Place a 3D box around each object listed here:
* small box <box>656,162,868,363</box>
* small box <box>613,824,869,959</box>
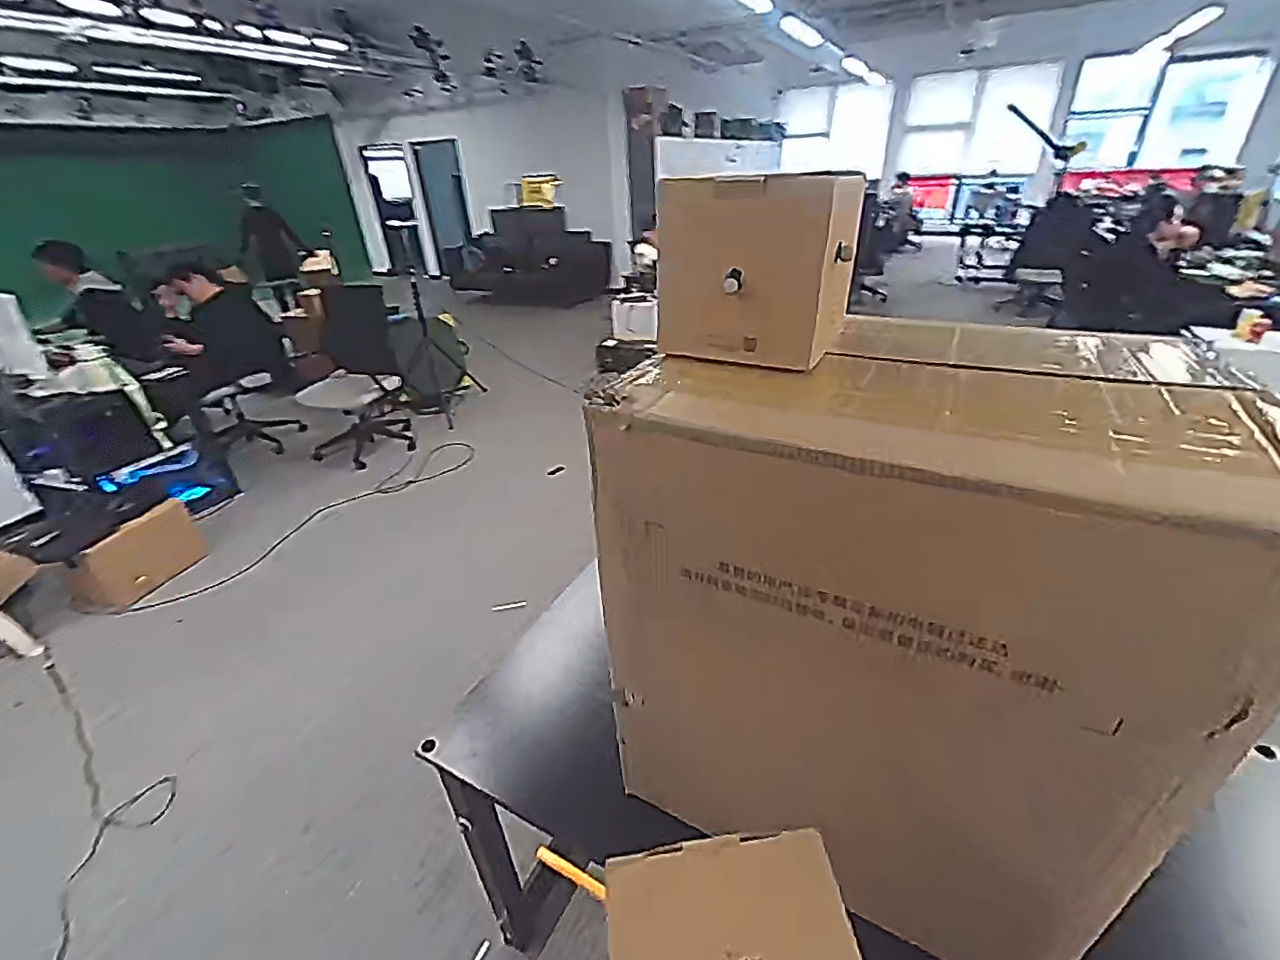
[{"bbox_3d":[0.129,-0.231,0.569,0.168,0.176,0.179,13,33,24],"label":"small box"},{"bbox_3d":[0.070,0.381,0.386,0.168,0.176,0.179,-6,39,-2],"label":"small box"}]
